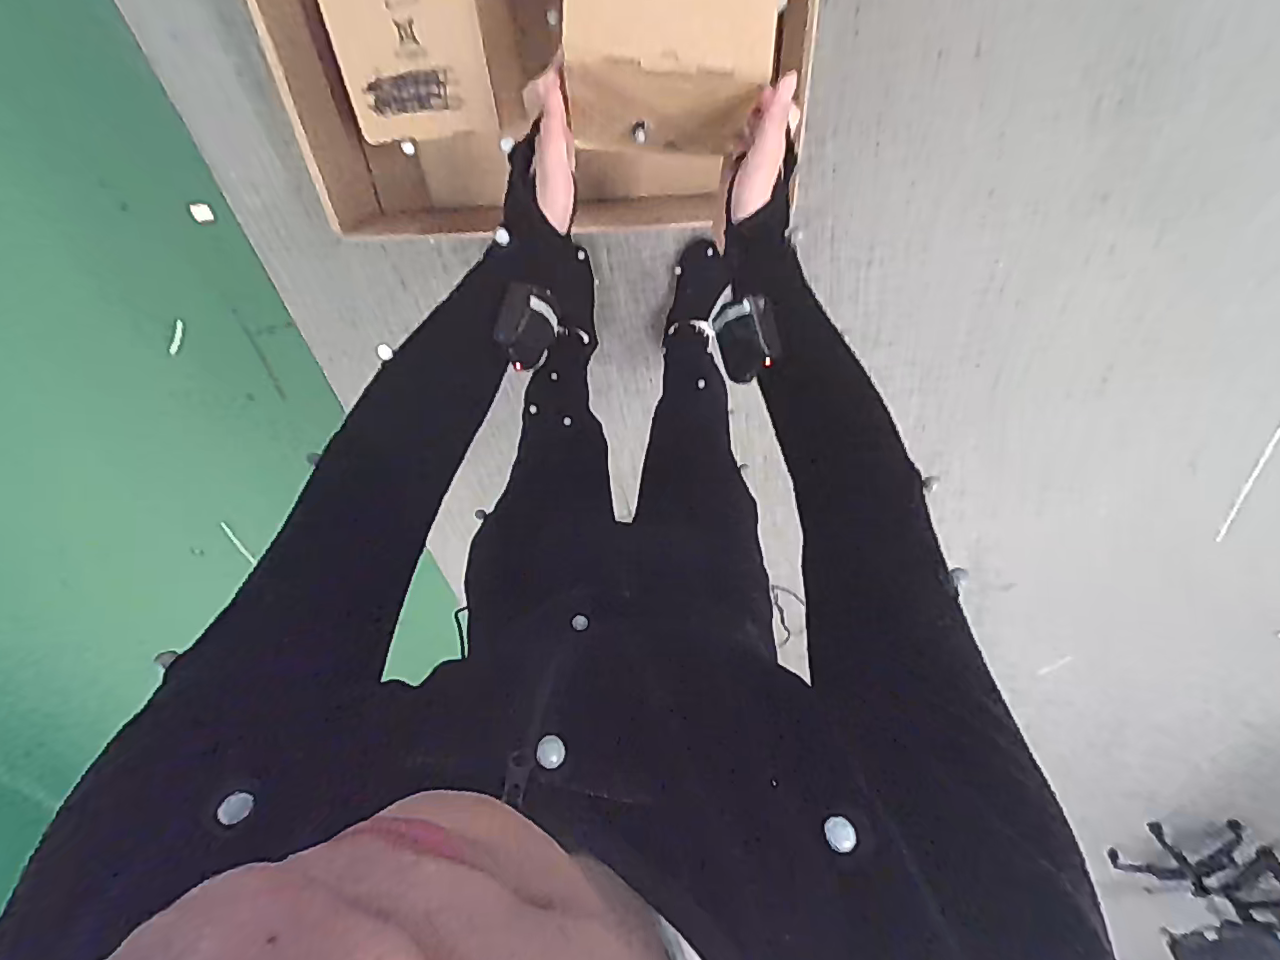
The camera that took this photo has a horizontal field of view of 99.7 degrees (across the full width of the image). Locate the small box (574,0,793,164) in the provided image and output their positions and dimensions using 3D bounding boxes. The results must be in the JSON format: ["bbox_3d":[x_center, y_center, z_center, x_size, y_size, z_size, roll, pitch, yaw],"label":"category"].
[{"bbox_3d":[0.028,-0.407,0.474,0.168,0.176,0.179,2,104,-6],"label":"small box"}]
